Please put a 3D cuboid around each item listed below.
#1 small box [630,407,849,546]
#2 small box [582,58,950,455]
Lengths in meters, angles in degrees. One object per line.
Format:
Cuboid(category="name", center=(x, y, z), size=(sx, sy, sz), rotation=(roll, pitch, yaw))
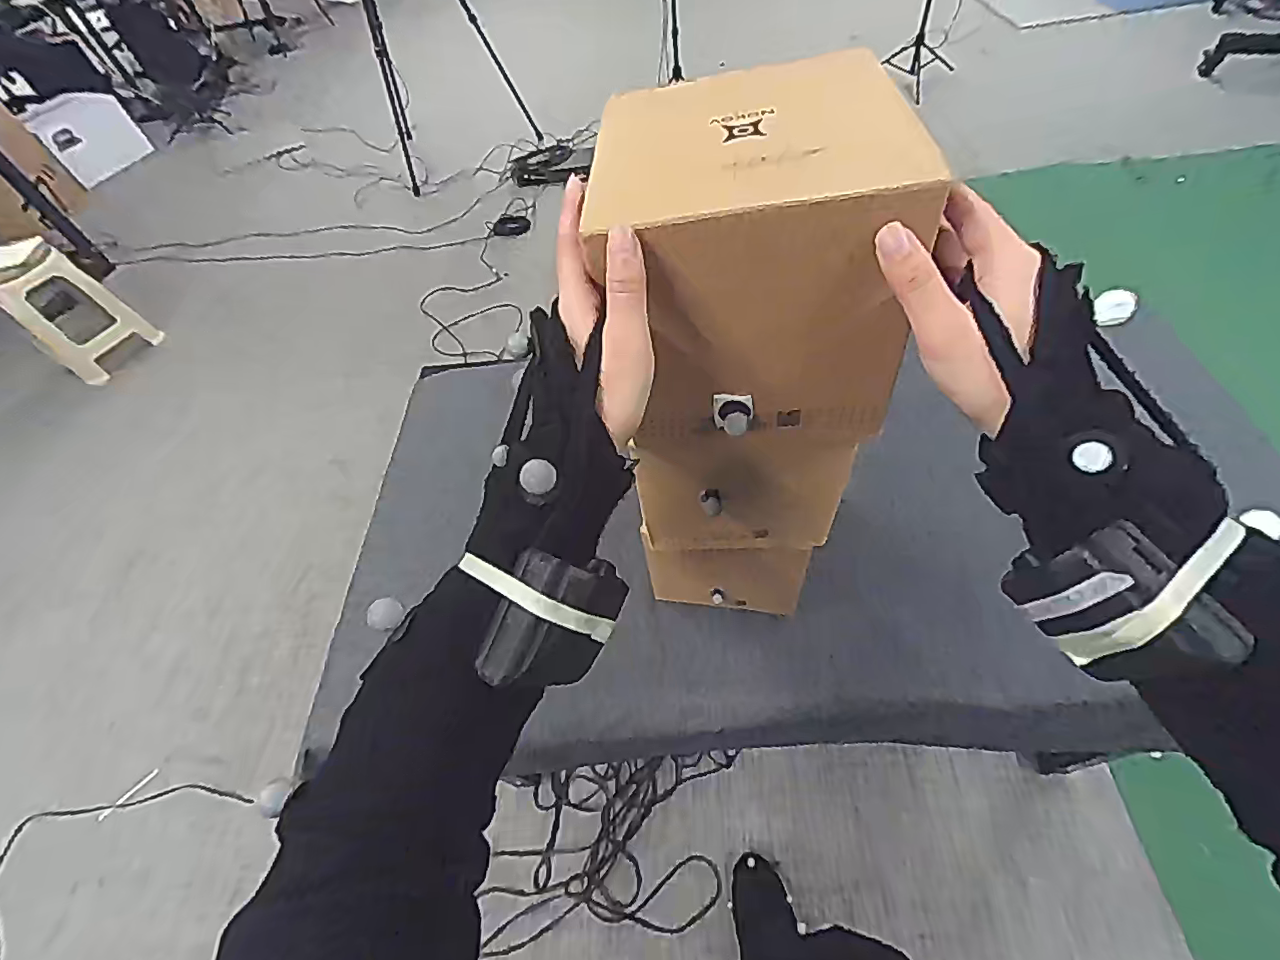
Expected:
Cuboid(category="small box", center=(0.086, -0.048, 0.497), size=(0.168, 0.176, 0.179), rotation=(-3, 54, 6))
Cuboid(category="small box", center=(0.069, -0.137, 0.355), size=(0.168, 0.176, 0.179), rotation=(-4, 53, 9))
